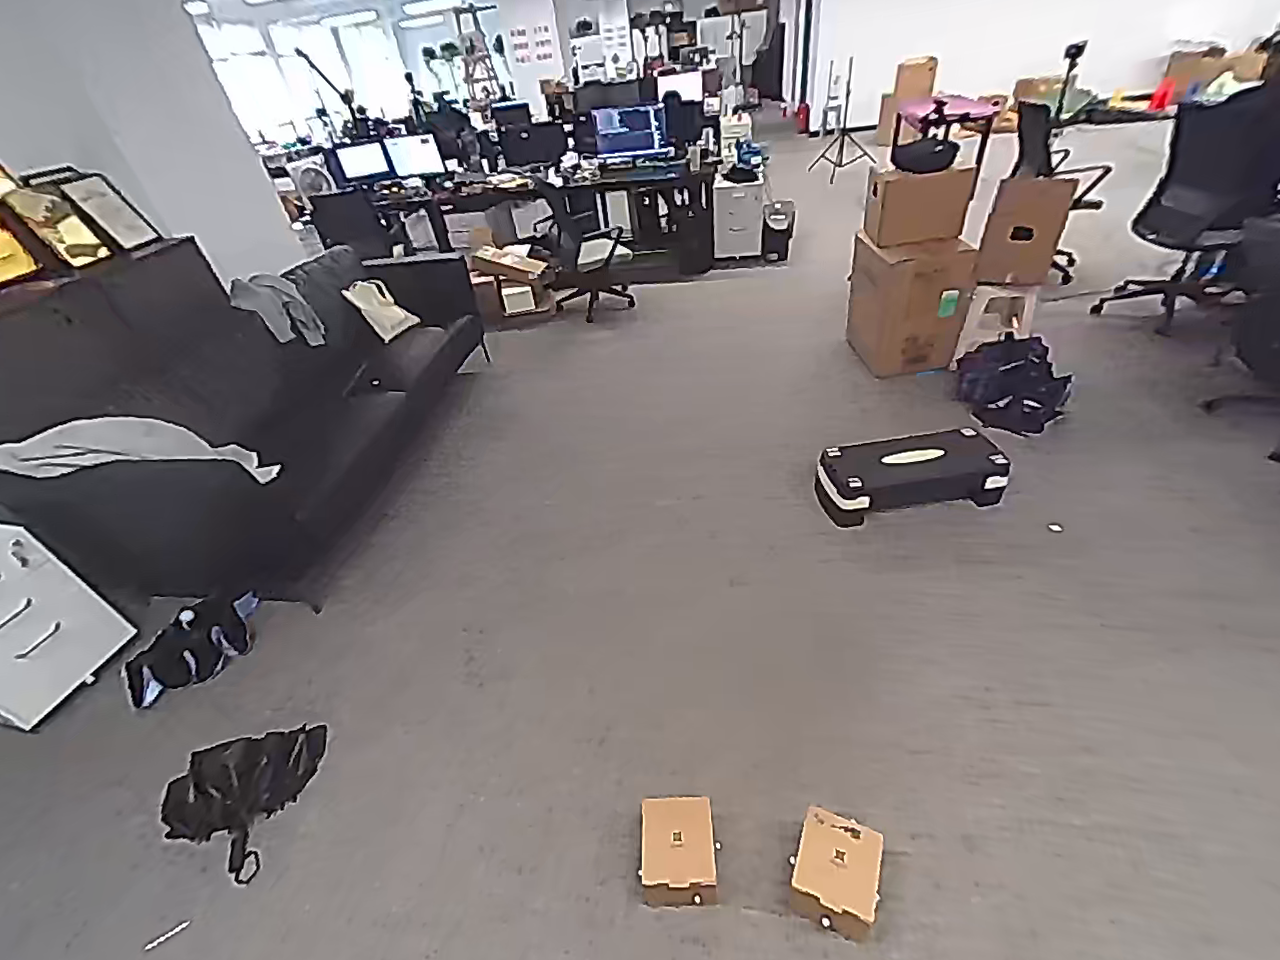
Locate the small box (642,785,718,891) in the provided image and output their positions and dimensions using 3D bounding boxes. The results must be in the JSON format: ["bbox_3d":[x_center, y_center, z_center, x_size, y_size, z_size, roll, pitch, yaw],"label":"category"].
[{"bbox_3d":[0.094,0.858,1.292,0.168,0.176,0.179,-5,38,3],"label":"small box"}]

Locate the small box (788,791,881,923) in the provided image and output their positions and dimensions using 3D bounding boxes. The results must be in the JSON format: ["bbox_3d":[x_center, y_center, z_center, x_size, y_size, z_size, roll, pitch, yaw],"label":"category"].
[{"bbox_3d":[0.438,0.855,1.224,0.168,0.176,0.179,11,44,24],"label":"small box"}]
